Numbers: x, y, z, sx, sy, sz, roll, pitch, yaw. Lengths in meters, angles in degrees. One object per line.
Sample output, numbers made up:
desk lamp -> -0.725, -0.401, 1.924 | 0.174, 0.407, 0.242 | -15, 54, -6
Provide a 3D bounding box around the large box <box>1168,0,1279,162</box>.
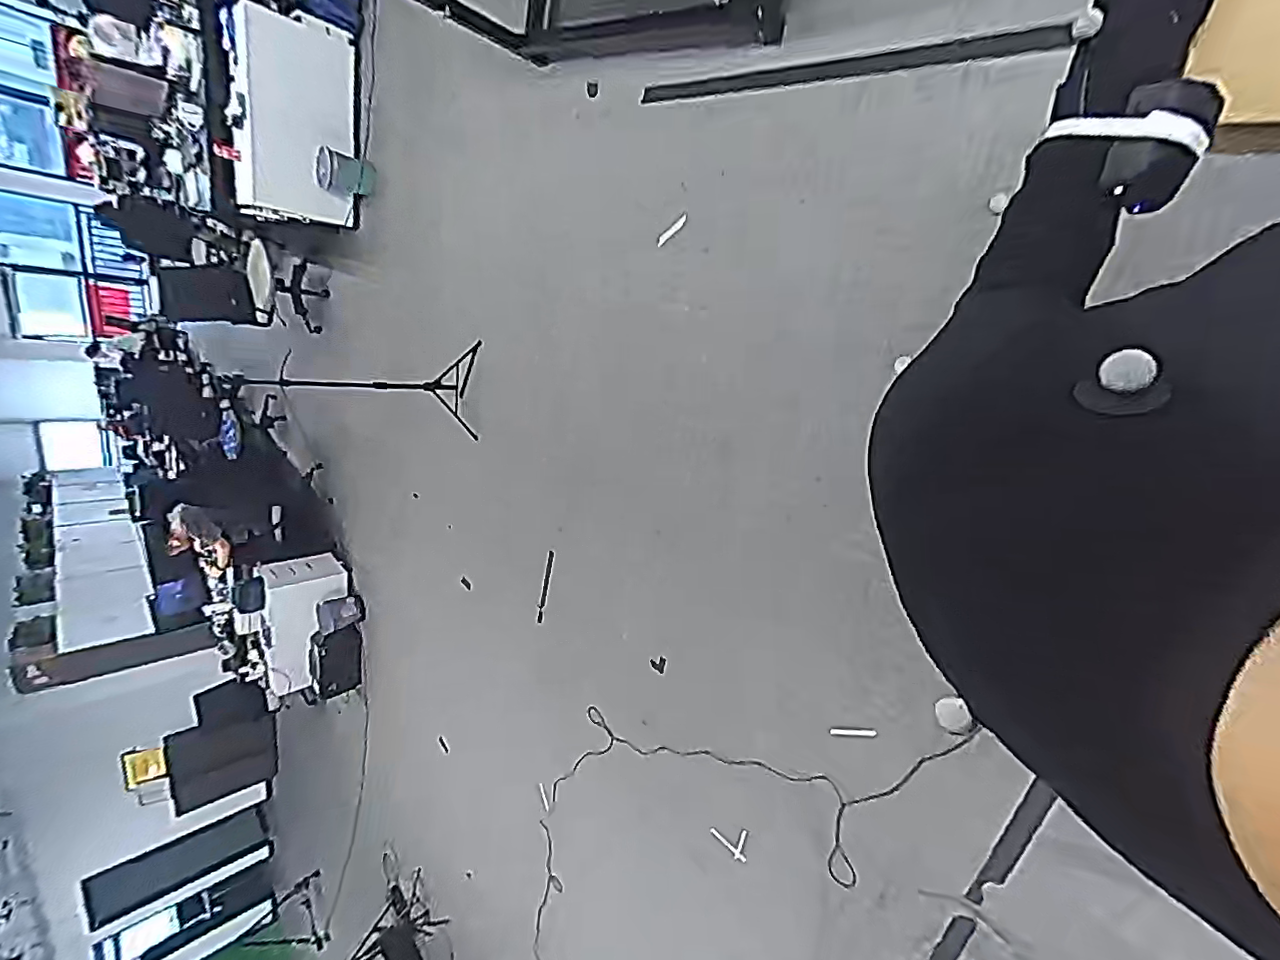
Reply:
large box -> 0.619, -0.369, 0.298 | 0.408, 0.320, 0.320 | 24, 126, 36
